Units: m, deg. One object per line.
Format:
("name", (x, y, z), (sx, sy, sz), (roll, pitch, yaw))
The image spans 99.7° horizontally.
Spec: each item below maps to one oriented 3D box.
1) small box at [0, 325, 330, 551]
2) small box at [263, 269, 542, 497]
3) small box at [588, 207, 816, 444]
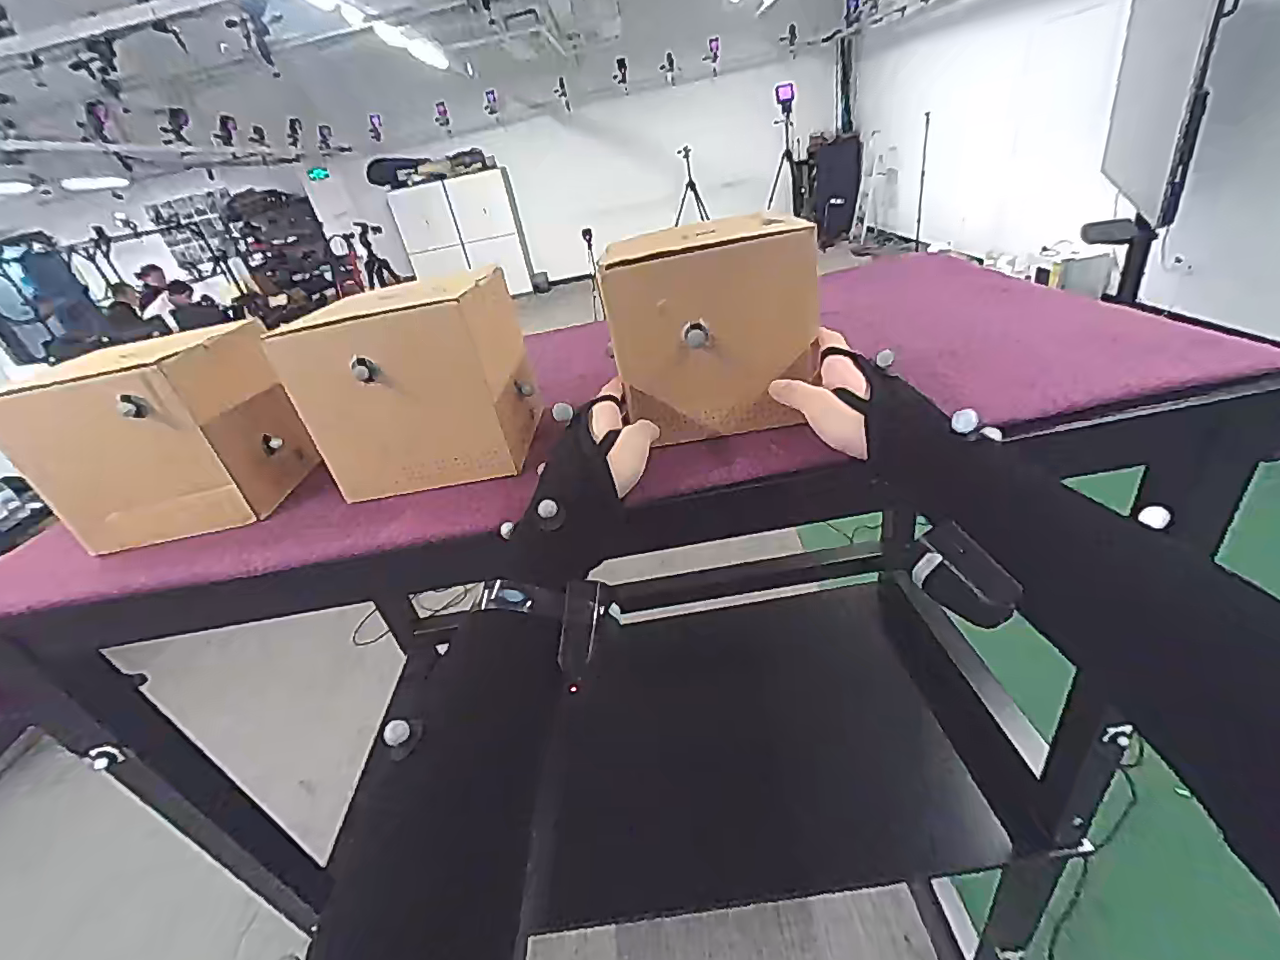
("small box", (-0.473, -0.045, 0.567), (0.179, 0.176, 0.168), (-12, 30, 1))
("small box", (-0.217, -0.098, 0.551), (0.179, 0.176, 0.168), (-10, 31, 6))
("small box", (0.062, -0.151, 0.531), (0.179, 0.176, 0.168), (-11, 31, 7))
